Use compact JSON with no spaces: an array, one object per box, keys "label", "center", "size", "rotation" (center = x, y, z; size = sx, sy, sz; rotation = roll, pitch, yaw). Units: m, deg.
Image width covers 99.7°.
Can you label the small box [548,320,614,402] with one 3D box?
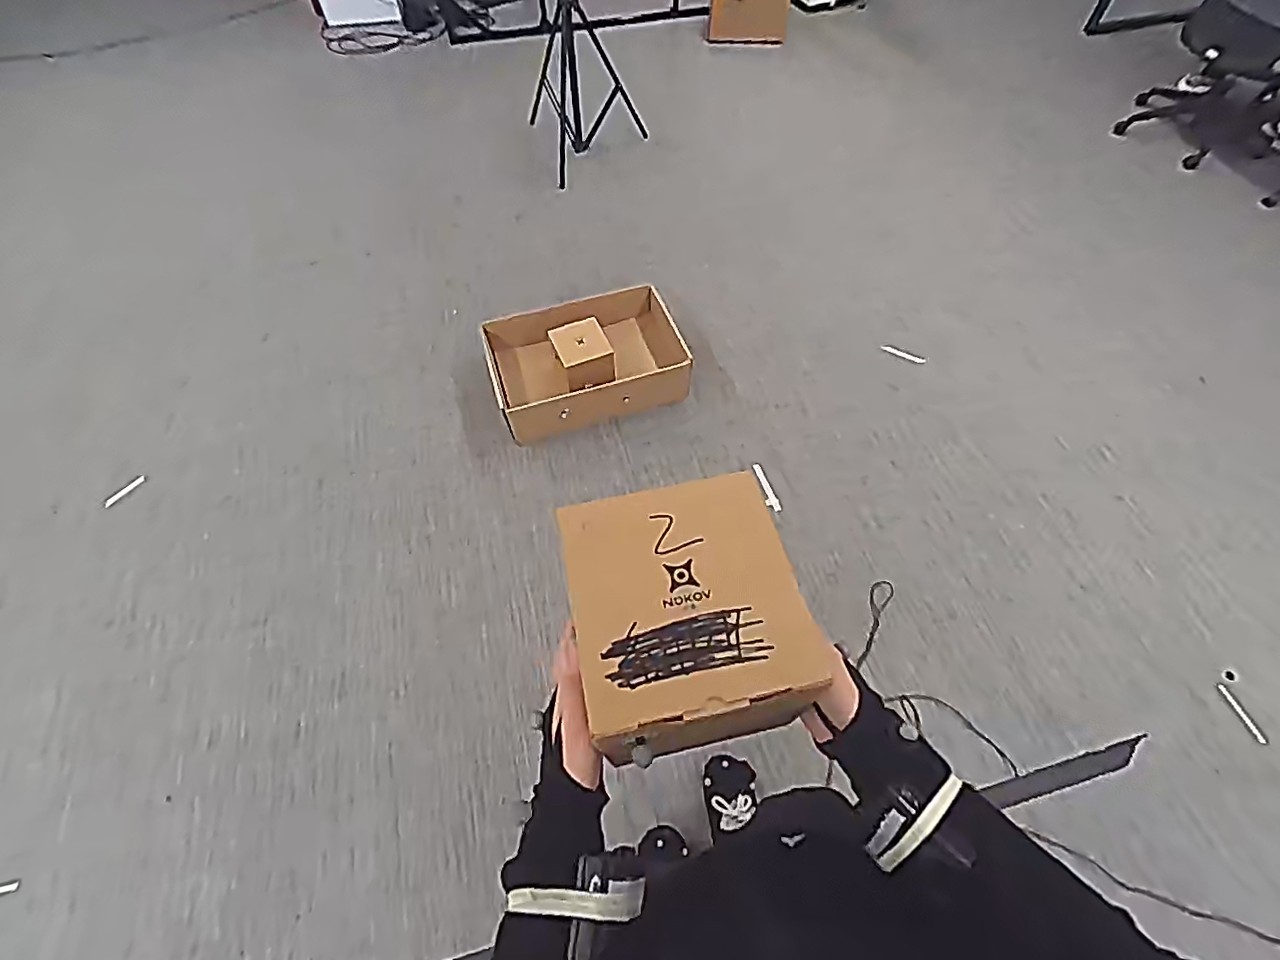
[{"label":"small box","center":[-0.193,-0.391,1.786],"size":[0.168,0.176,0.179],"rotation":[-22,62,-12]}]
